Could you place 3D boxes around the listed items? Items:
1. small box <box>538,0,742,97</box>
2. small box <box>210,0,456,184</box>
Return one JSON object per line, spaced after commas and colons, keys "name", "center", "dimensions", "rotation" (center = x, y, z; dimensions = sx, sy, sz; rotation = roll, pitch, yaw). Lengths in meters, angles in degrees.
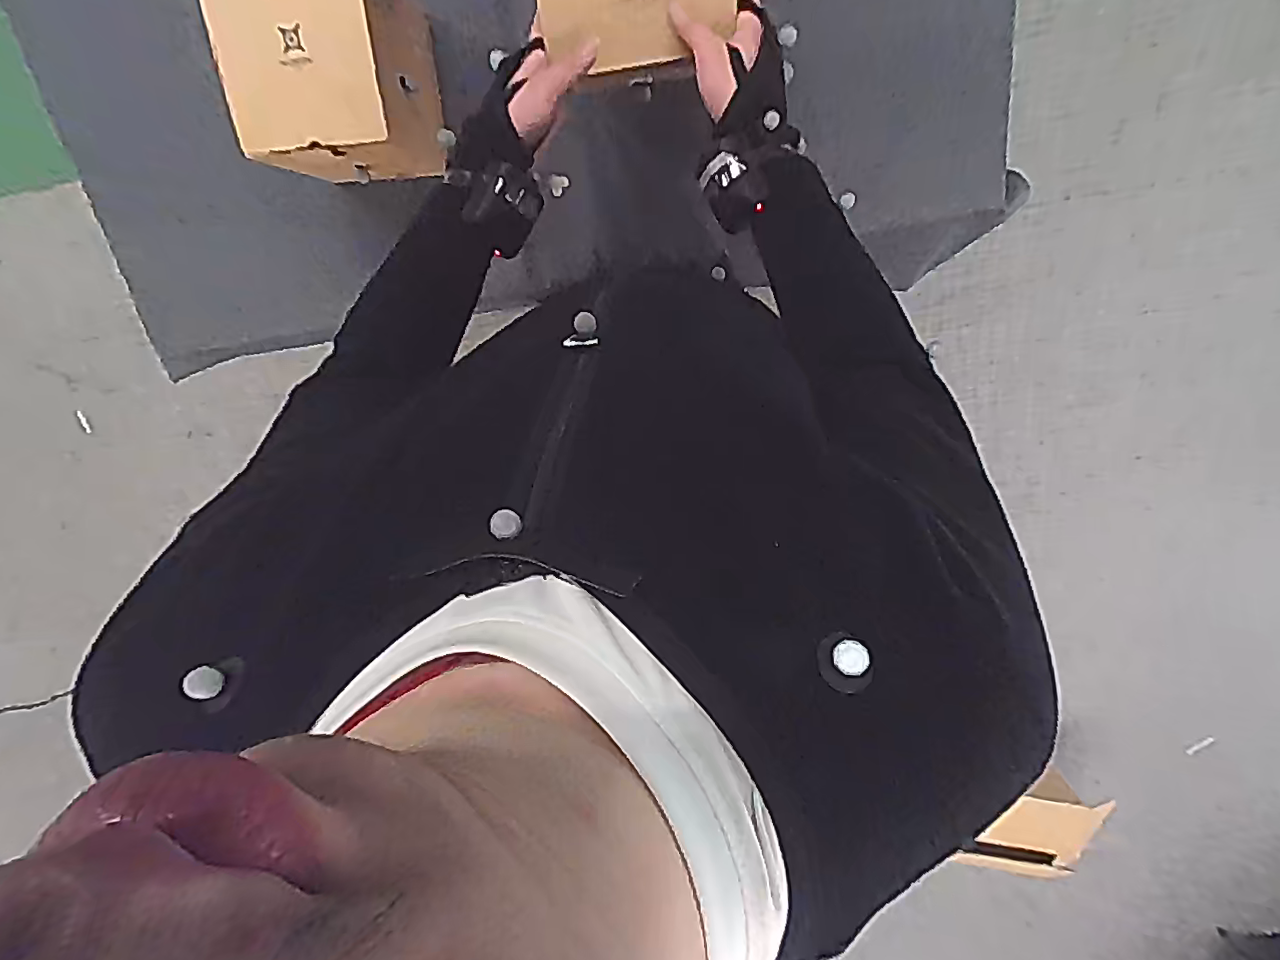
{"name": "small box", "center": [0.003, -0.460, 0.478], "dimensions": [0.168, 0.176, 0.179], "rotation": [-1, 121, 8]}
{"name": "small box", "center": [-0.332, -0.452, 0.620], "dimensions": [0.168, 0.176, 0.179], "rotation": [-3, 109, 7]}
